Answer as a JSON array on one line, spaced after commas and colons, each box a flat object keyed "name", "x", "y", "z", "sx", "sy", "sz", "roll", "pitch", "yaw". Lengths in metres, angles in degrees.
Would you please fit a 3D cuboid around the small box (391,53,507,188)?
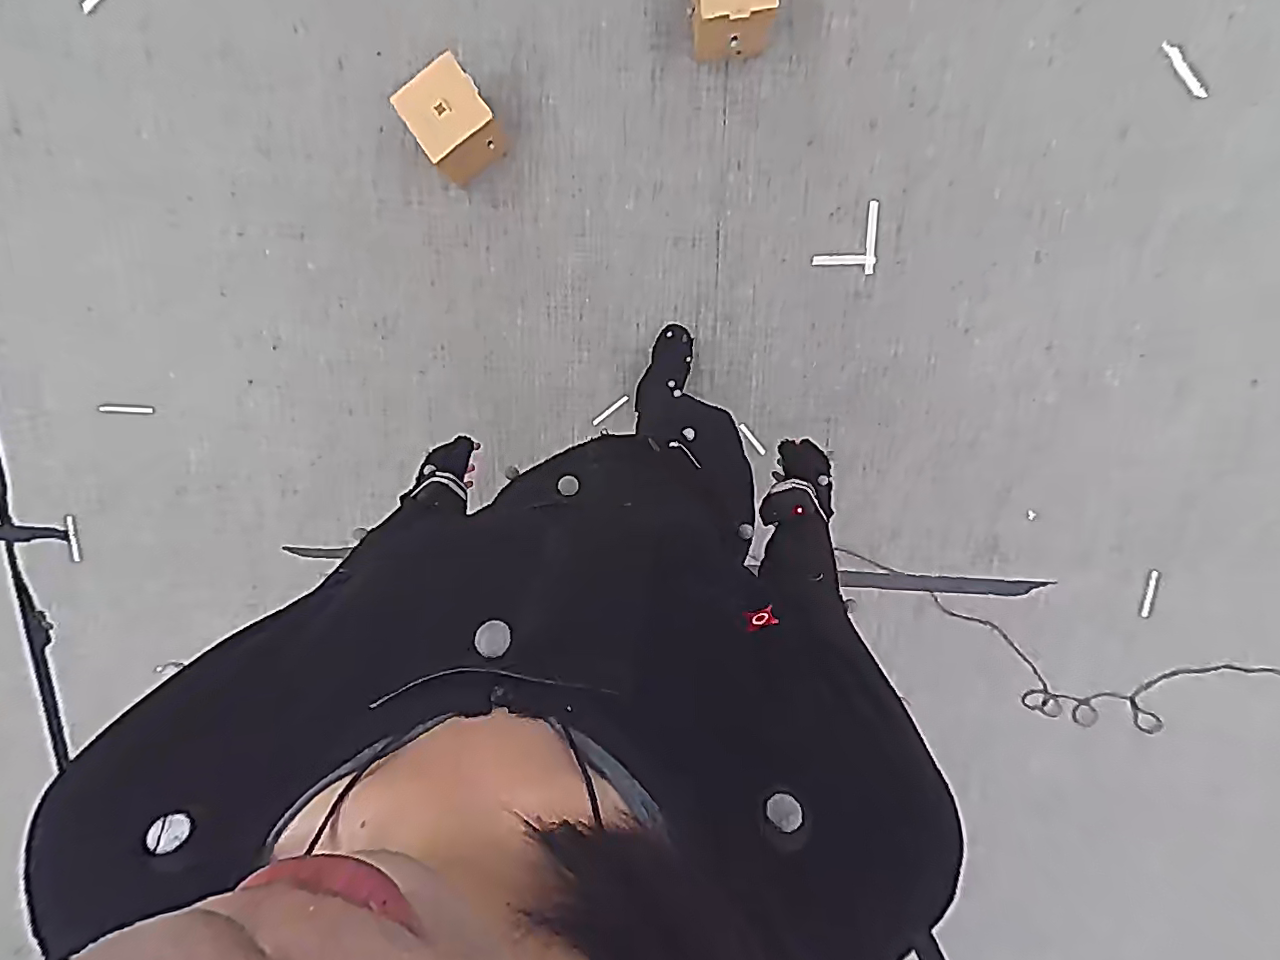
[{"name": "small box", "x": -0.433, "y": -0.832, "z": 1.271, "sx": 0.179, "sy": 0.176, "sz": 0.168, "roll": -34, "pitch": 97, "yaw": 8}]

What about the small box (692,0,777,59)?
[{"name": "small box", "x": 0.204, "y": -1.076, "z": 1.203, "sx": 0.168, "sy": 0.176, "sz": 0.179, "roll": -5, "pitch": 102, "yaw": 2}]
